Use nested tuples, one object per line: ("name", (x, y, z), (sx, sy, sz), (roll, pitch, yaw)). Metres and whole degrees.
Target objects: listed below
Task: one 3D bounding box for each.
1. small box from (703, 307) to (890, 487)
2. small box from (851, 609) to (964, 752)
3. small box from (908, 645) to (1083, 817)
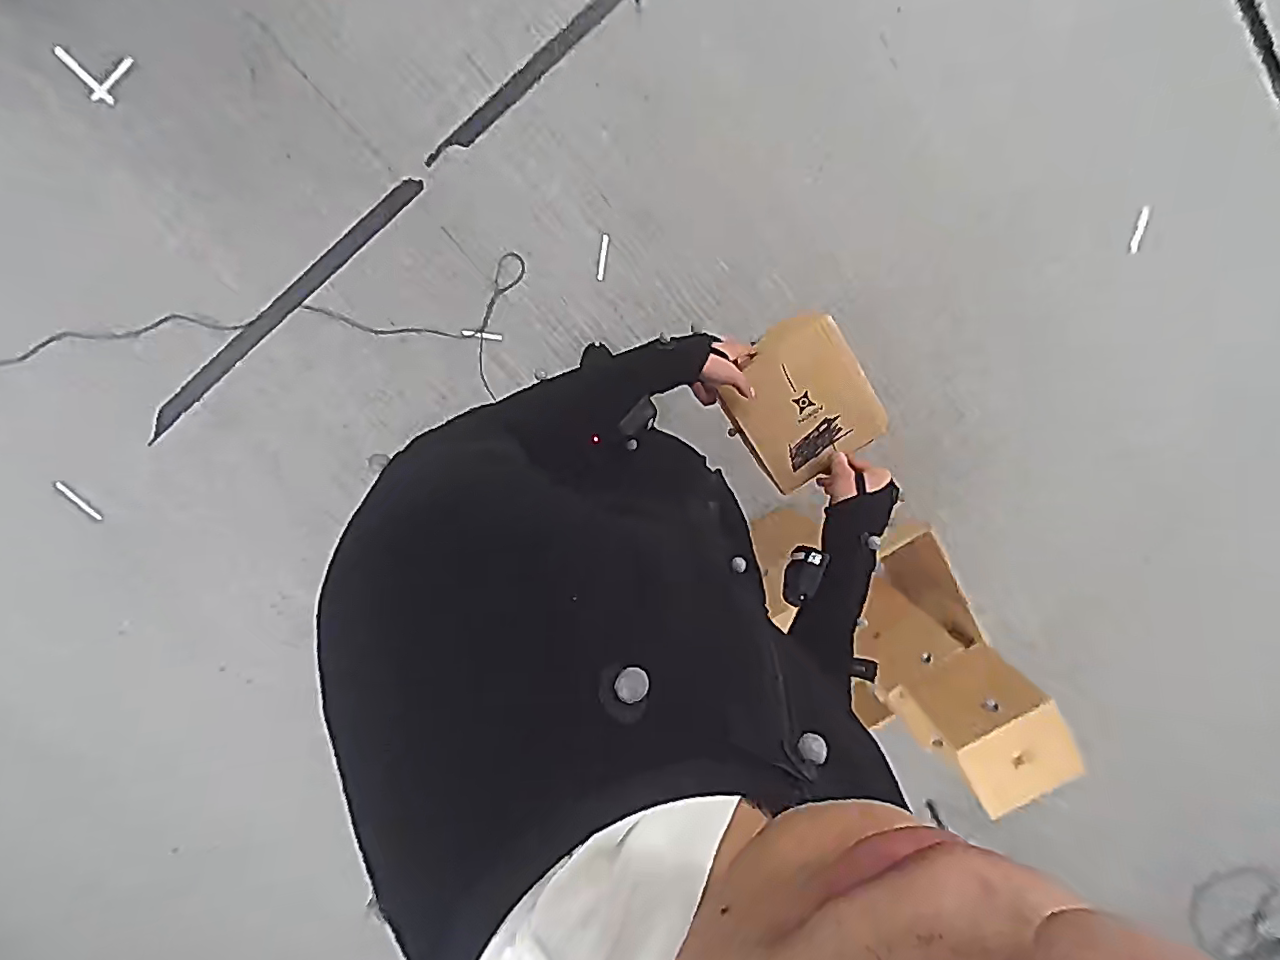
("small box", (0.206, -0.123, 0.759), (0.168, 0.176, 0.179), (-34, 103, 9))
("small box", (0.568, 0.400, 1.102), (0.168, 0.176, 0.179), (-34, 105, 5))
("small box", (0.601, 0.428, 0.943), (0.179, 0.176, 0.168), (-32, 105, 4))
